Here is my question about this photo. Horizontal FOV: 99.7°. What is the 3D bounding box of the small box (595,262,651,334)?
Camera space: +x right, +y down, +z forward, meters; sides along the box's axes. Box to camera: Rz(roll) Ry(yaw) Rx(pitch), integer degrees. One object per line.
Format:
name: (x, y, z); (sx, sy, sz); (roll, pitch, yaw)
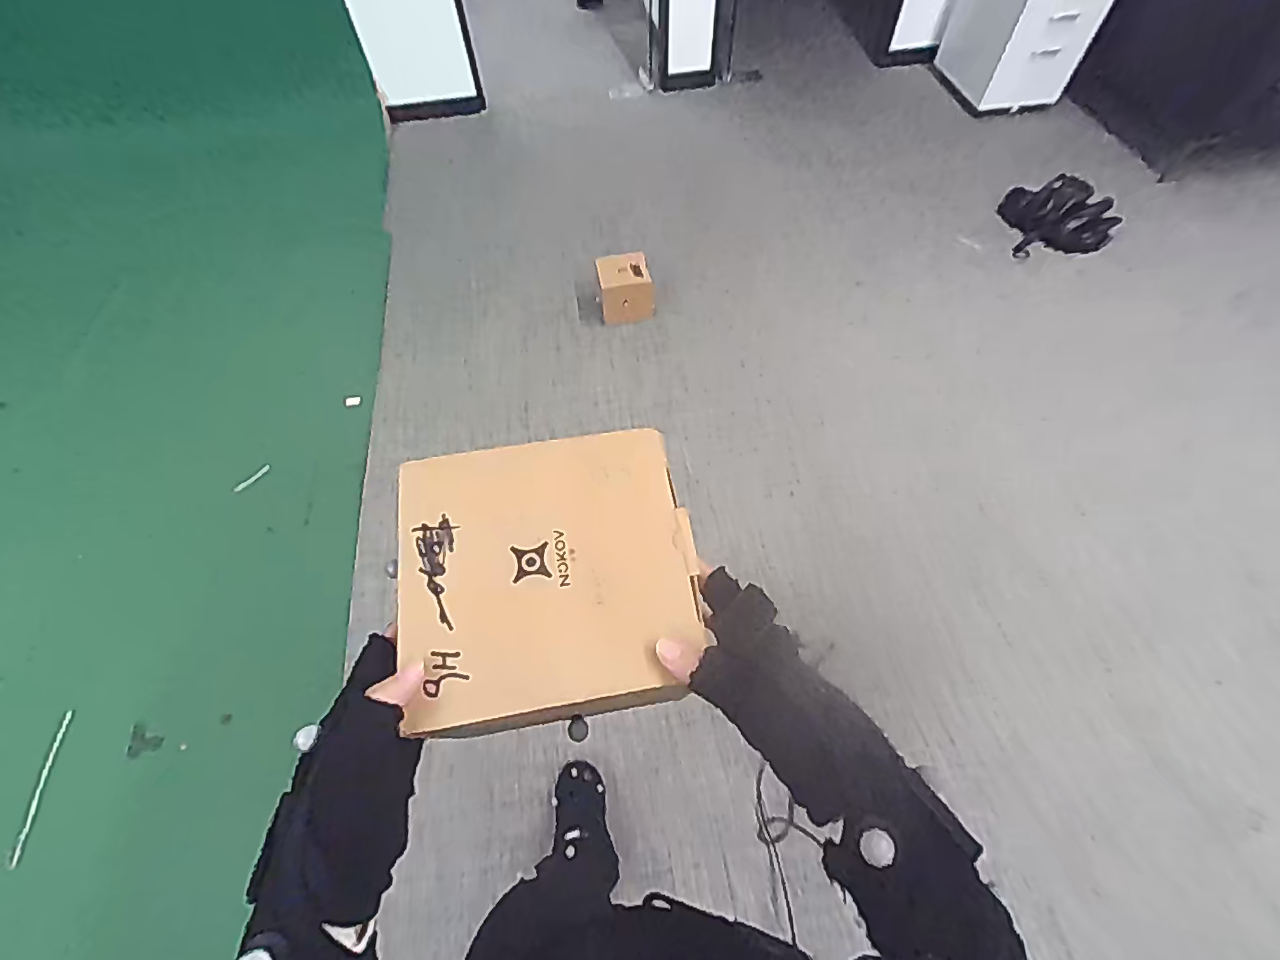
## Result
small box: (-0.060, -0.653, 1.948); (0.179, 0.176, 0.168); (-10, 58, -3)

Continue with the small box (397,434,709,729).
small box: (-0.063, 0.084, 0.405); (0.179, 0.176, 0.168); (-7, 63, -7)
